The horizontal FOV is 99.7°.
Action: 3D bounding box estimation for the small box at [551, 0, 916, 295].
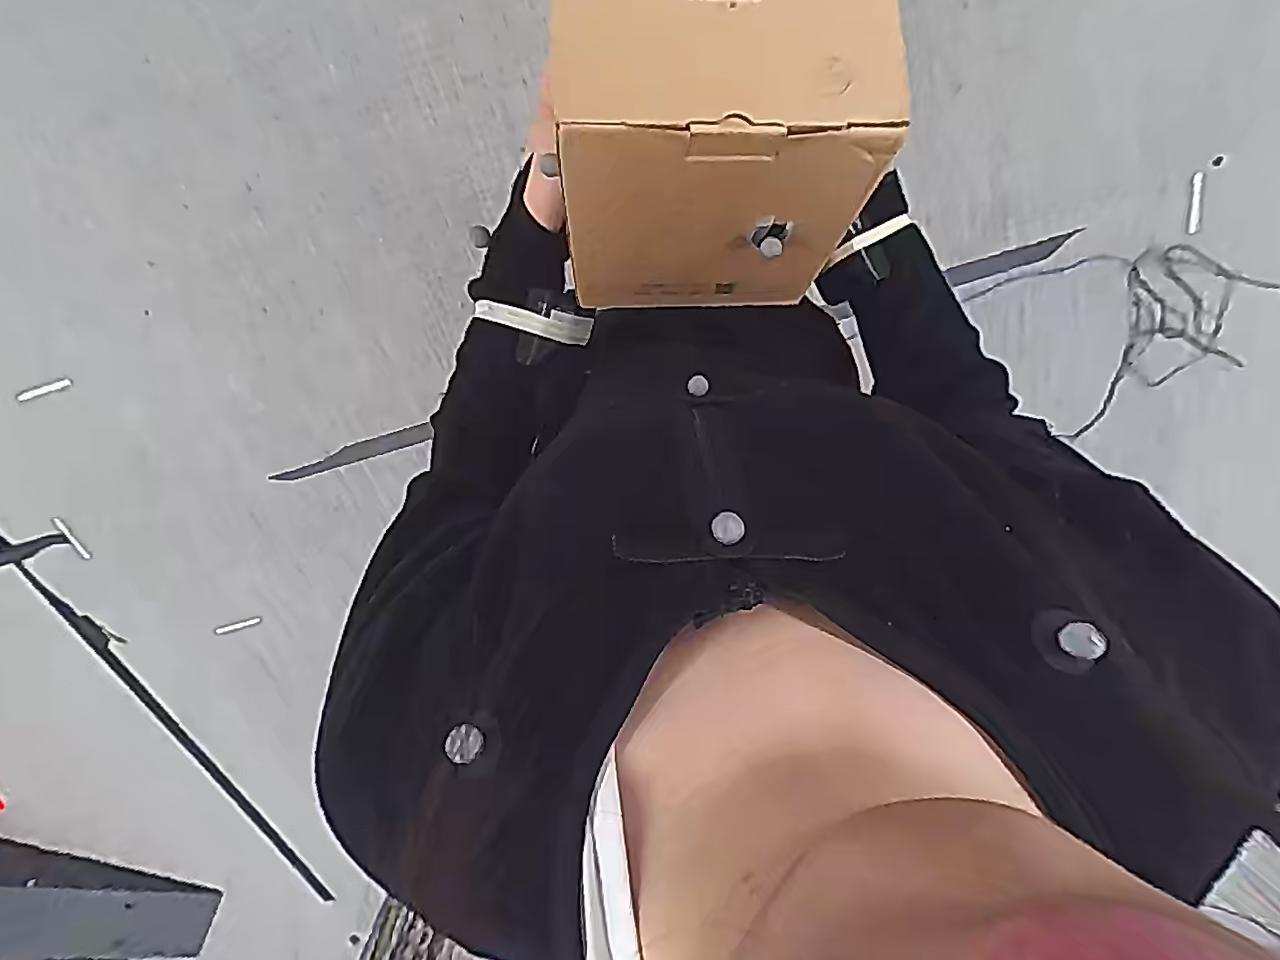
[{"bbox_3d":[0.037,-0.230,0.332,0.168,0.176,0.179,-2,79,-4],"label":"small box"}]
